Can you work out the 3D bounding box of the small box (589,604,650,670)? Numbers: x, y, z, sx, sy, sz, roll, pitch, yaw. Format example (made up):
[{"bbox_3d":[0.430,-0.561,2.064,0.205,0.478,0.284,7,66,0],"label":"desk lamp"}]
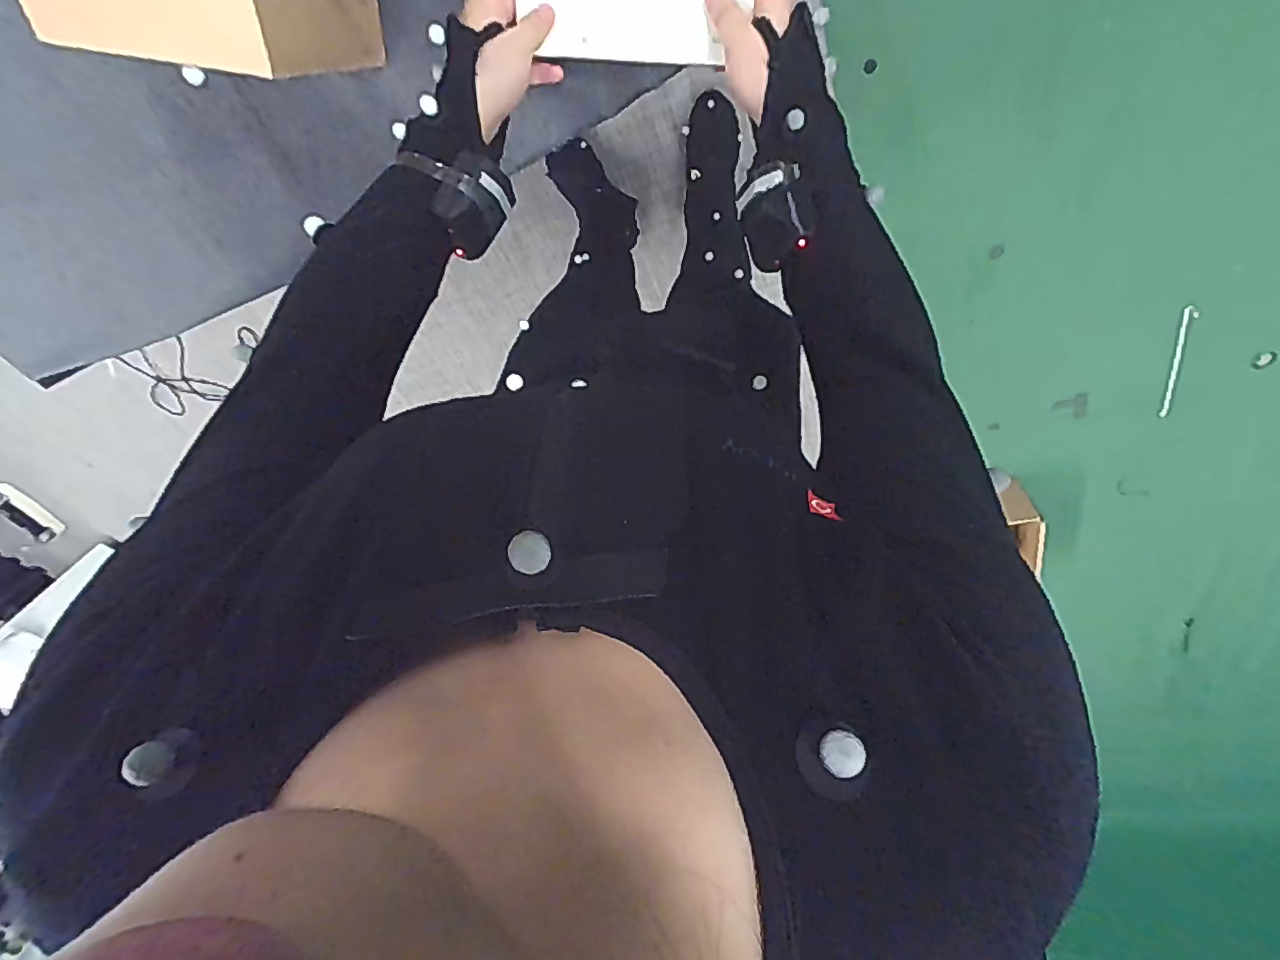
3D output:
[{"bbox_3d":[-0.069,0.562,1.951,0.168,0.176,0.179,-3,131,16],"label":"small box"}]

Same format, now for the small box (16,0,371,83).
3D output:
[{"bbox_3d":[-0.317,-0.402,0.382,0.179,0.176,0.168,10,132,2],"label":"small box"}]
